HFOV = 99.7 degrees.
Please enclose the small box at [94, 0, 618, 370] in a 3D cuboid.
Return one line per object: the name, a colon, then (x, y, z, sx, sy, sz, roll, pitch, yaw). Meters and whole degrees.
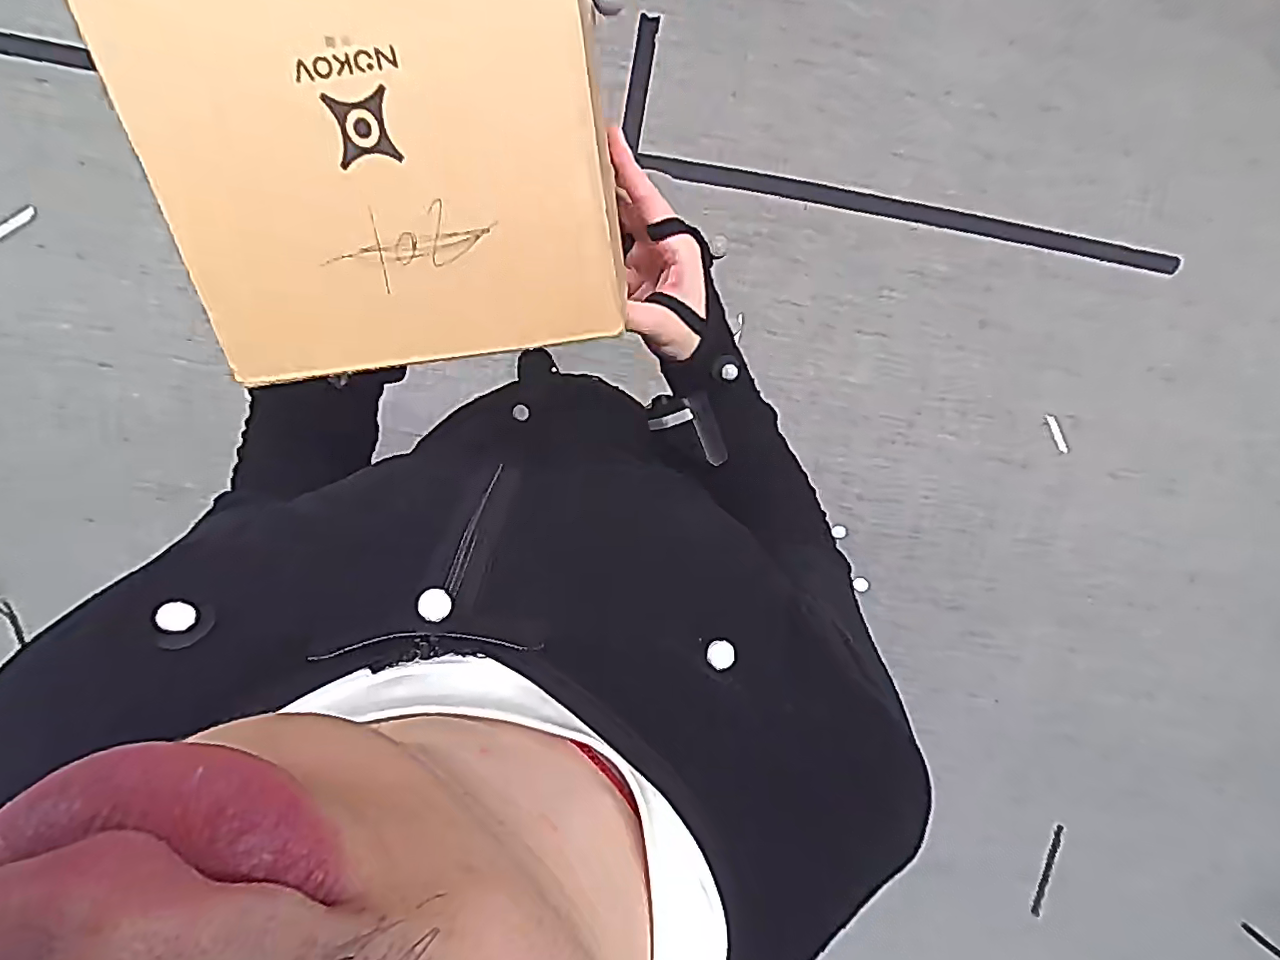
small box: (-0.103, -0.168, 0.274, 0.168, 0.176, 0.179, -6, 115, 2)
